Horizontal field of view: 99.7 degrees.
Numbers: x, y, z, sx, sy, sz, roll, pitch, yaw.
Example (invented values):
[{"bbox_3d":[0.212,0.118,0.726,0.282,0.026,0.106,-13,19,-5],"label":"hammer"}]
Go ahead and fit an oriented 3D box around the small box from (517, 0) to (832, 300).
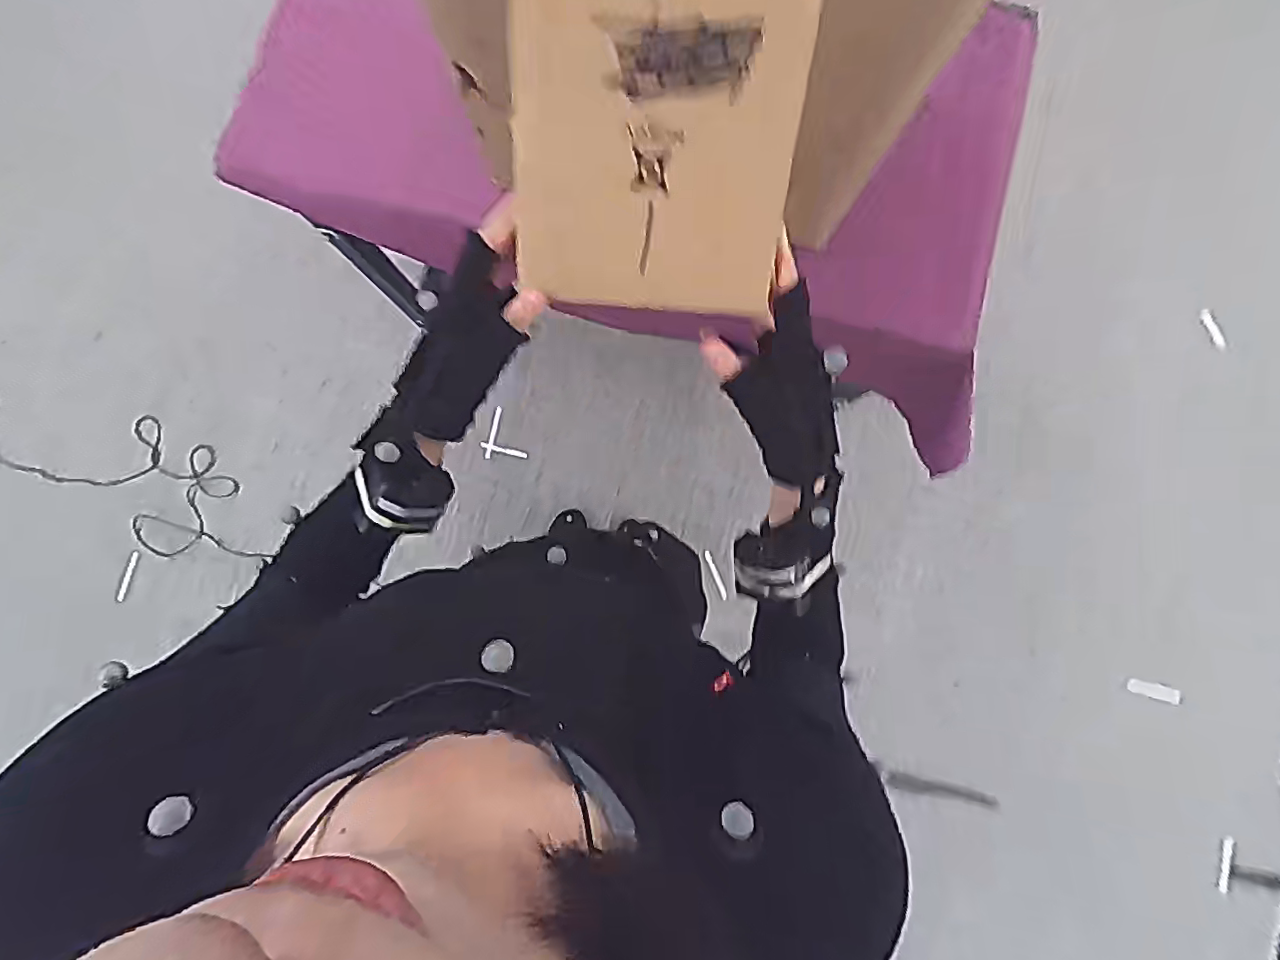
[{"bbox_3d":[0.011,-0.231,0.373,0.168,0.176,0.179,3,117,-3],"label":"small box"}]
